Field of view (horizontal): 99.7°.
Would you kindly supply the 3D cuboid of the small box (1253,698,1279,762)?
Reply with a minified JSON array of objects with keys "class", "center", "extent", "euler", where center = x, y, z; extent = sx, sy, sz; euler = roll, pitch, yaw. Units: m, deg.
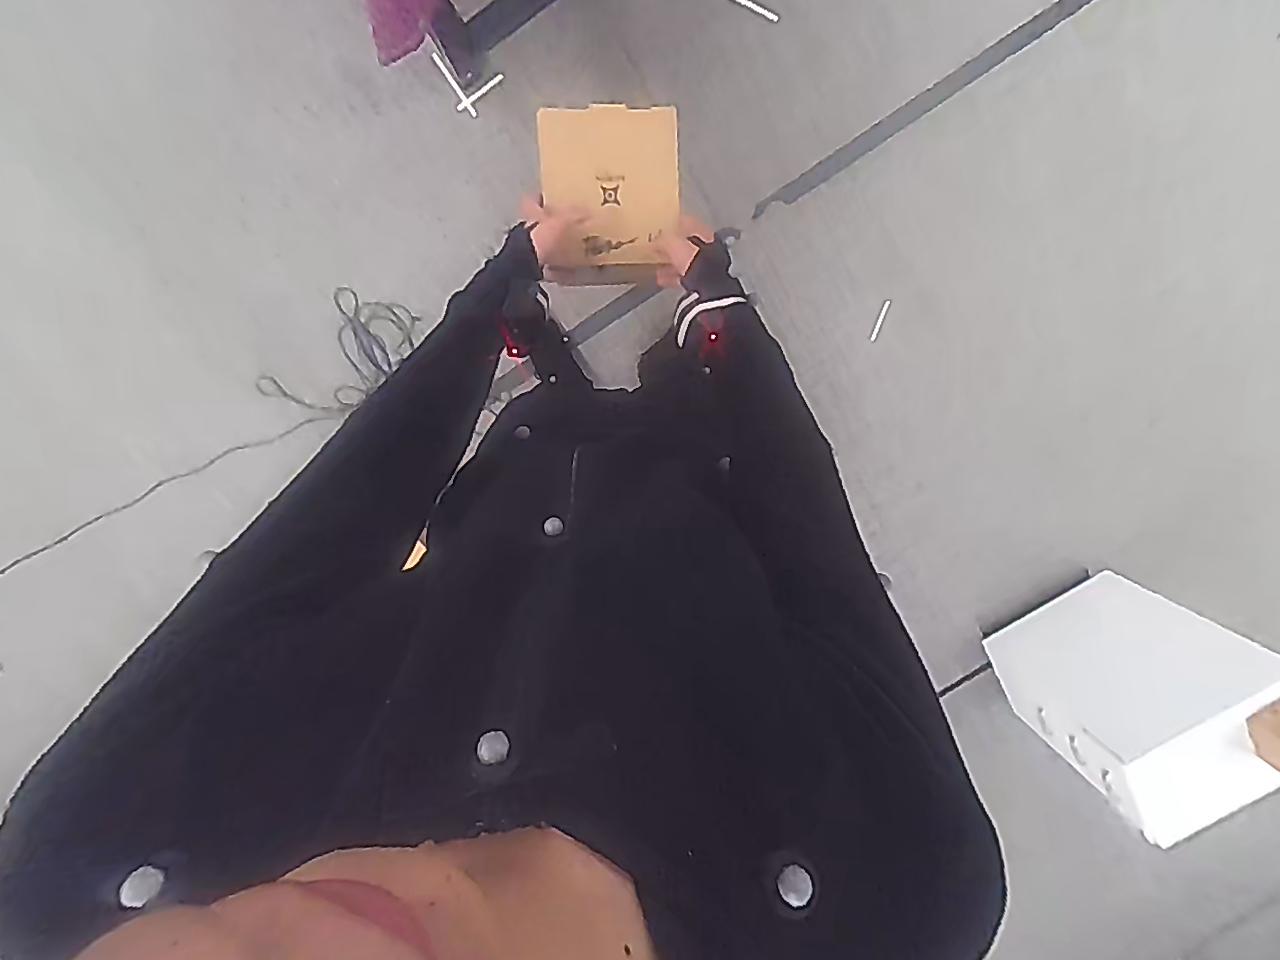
[{"class":"small box","center":[1.723,0.658,1.361],"extent":[0.168,0.176,0.179],"euler":[-33,110,6]}]

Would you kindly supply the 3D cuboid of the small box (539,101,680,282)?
[{"class":"small box","center":[-0.039,-0.367,0.716],"extent":[0.168,0.176,0.179],"euler":[-2,103,-3]}]
